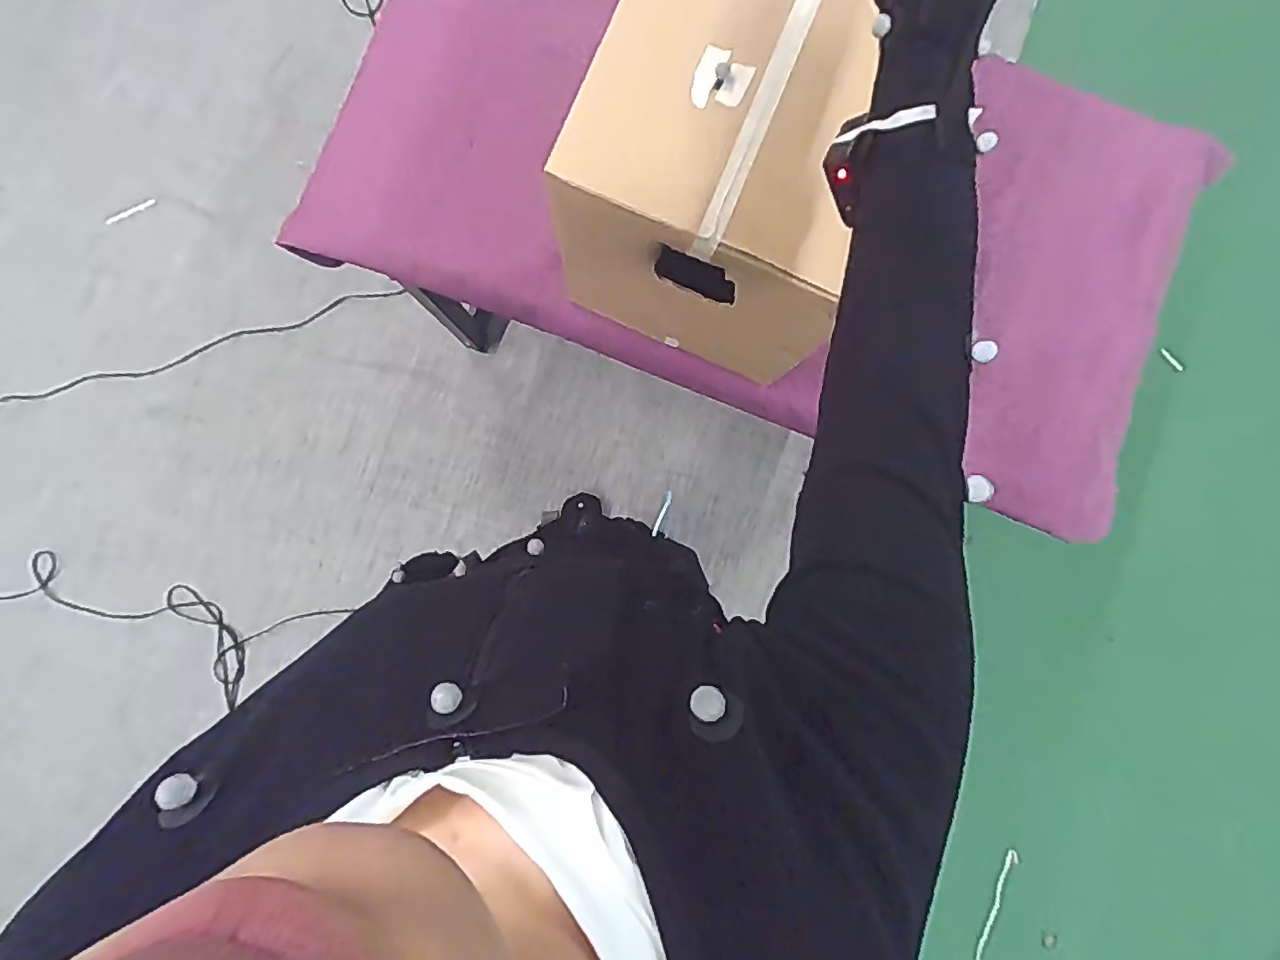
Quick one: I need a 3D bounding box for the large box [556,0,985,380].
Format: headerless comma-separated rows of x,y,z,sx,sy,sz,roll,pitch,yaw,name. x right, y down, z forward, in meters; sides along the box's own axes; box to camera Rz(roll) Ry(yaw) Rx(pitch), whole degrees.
0.129,-0.388,0.653,0.320,0.320,0.408,23,87,-1,large box
